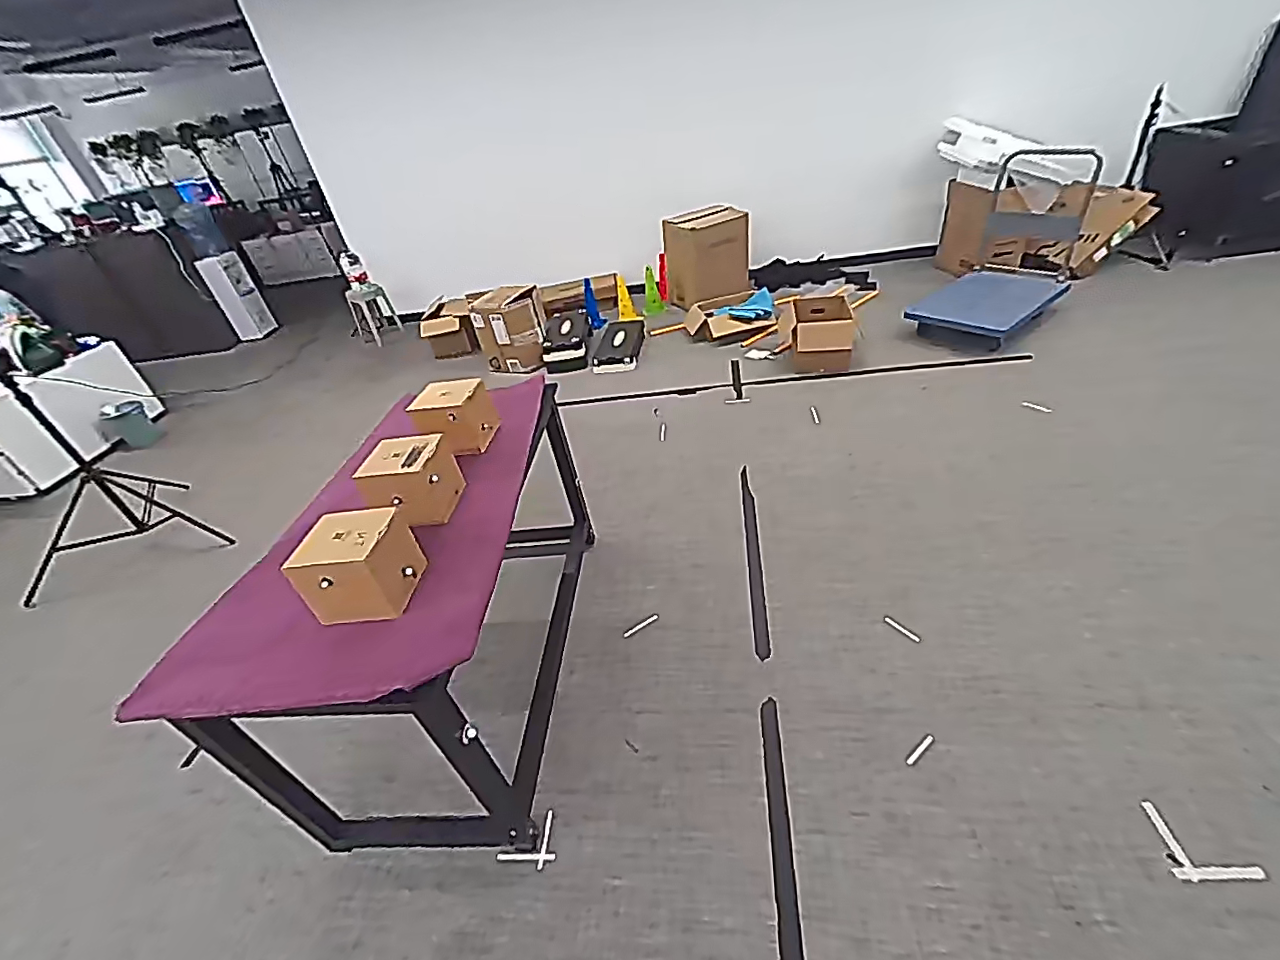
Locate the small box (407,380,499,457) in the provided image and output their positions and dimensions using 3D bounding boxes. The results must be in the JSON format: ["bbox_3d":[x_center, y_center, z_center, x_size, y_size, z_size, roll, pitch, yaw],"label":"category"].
[{"bbox_3d":[-0.549,-0.180,1.612,0.179,0.176,0.168,-4,37,11],"label":"small box"}]

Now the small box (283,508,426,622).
[{"bbox_3d":[-0.583,0.180,1.129,0.179,0.176,0.168,-6,35,6],"label":"small box"}]
